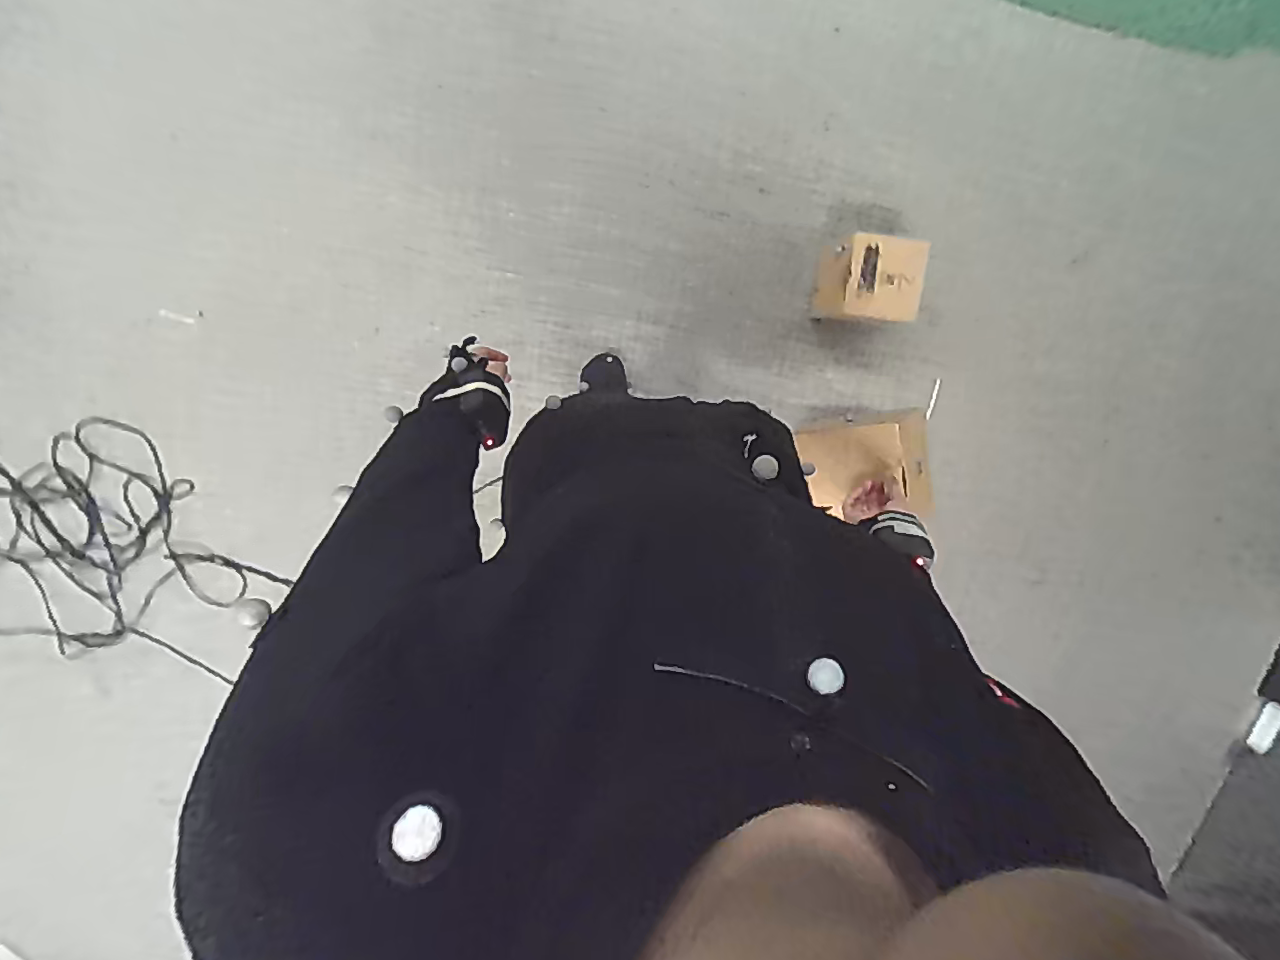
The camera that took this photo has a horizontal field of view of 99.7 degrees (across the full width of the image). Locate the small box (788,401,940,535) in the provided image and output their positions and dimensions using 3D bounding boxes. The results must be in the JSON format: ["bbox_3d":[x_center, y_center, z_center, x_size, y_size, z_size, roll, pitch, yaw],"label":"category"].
[{"bbox_3d":[0.336,-0.017,0.822,0.176,0.179,0.168,-5,100,40],"label":"small box"}]
